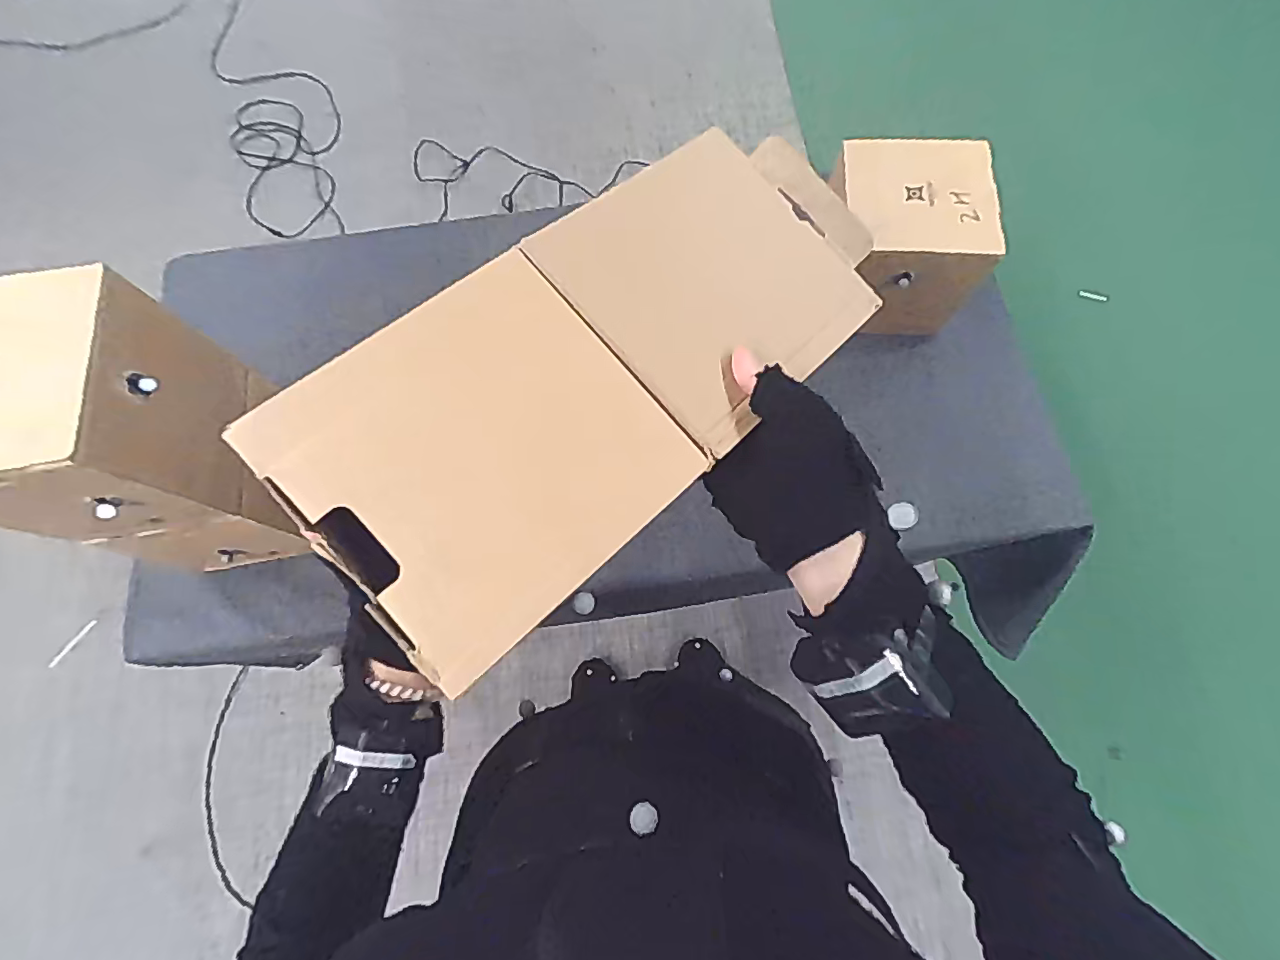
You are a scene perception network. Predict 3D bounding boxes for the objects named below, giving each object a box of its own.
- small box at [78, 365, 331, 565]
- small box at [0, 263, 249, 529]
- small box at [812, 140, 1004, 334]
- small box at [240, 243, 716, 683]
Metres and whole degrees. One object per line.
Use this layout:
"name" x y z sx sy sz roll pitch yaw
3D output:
"small box" -0.487 -0.009 0.640 0.168 0.176 0.179 -10 73 -2
"small box" -0.492 -0.059 0.485 0.168 0.176 0.179 -8 72 -2
"small box" 0.329 -0.307 0.706 0.179 0.176 0.168 4 73 3
"small box" -0.086 0.000 0.345 0.179 0.176 0.168 -42 87 -19
